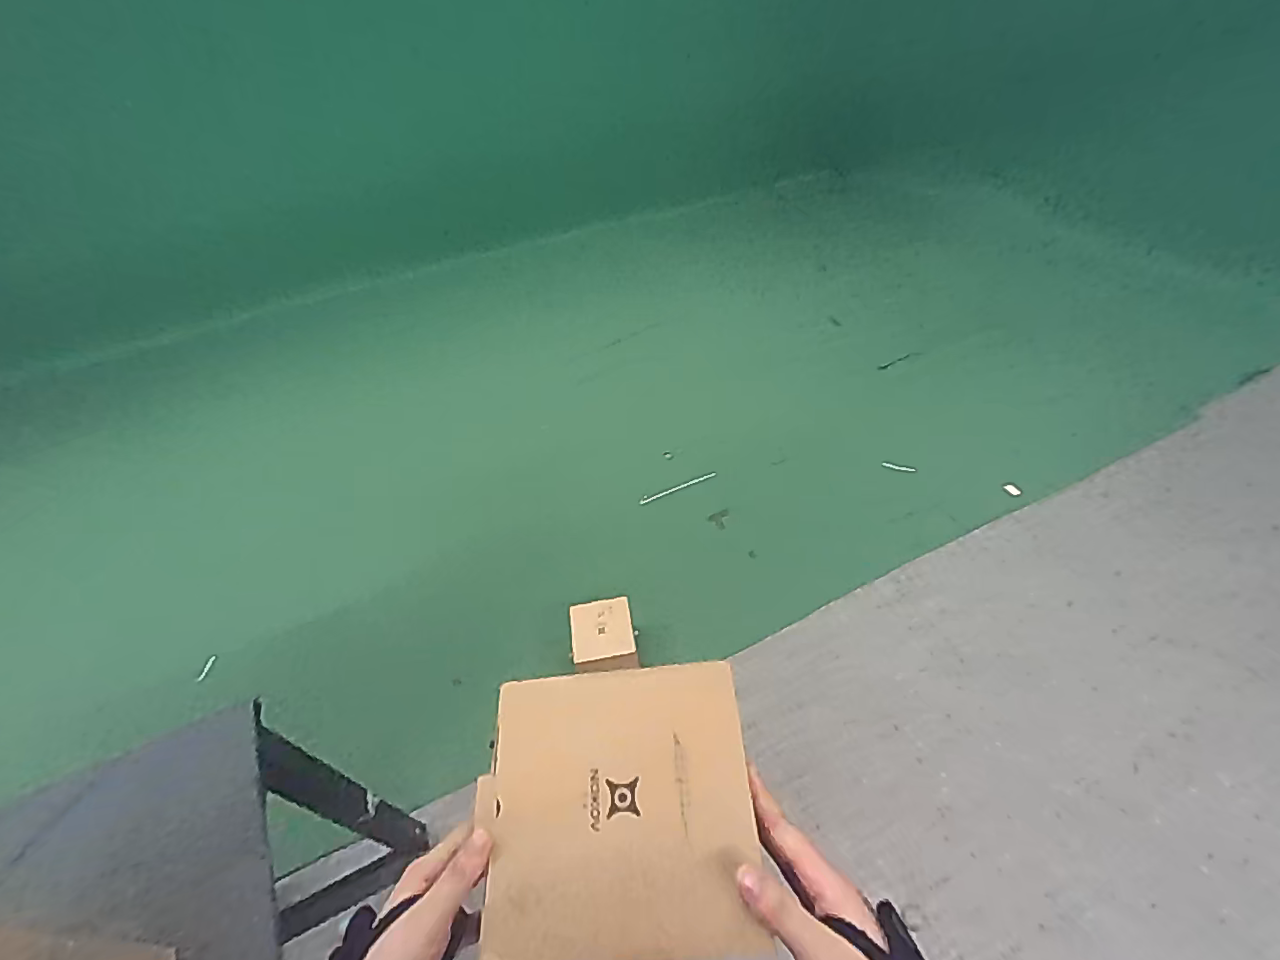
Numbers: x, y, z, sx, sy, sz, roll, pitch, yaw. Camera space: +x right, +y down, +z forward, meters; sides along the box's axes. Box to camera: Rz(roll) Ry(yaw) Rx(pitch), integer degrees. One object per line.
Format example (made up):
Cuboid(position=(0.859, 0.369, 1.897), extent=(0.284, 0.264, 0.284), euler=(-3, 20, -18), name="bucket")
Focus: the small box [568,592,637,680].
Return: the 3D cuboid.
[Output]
Cuboid(position=(-0.104, 0.445, 1.521), extent=(0.168, 0.176, 0.179), euler=(-9, 46, -4), name="small box")
